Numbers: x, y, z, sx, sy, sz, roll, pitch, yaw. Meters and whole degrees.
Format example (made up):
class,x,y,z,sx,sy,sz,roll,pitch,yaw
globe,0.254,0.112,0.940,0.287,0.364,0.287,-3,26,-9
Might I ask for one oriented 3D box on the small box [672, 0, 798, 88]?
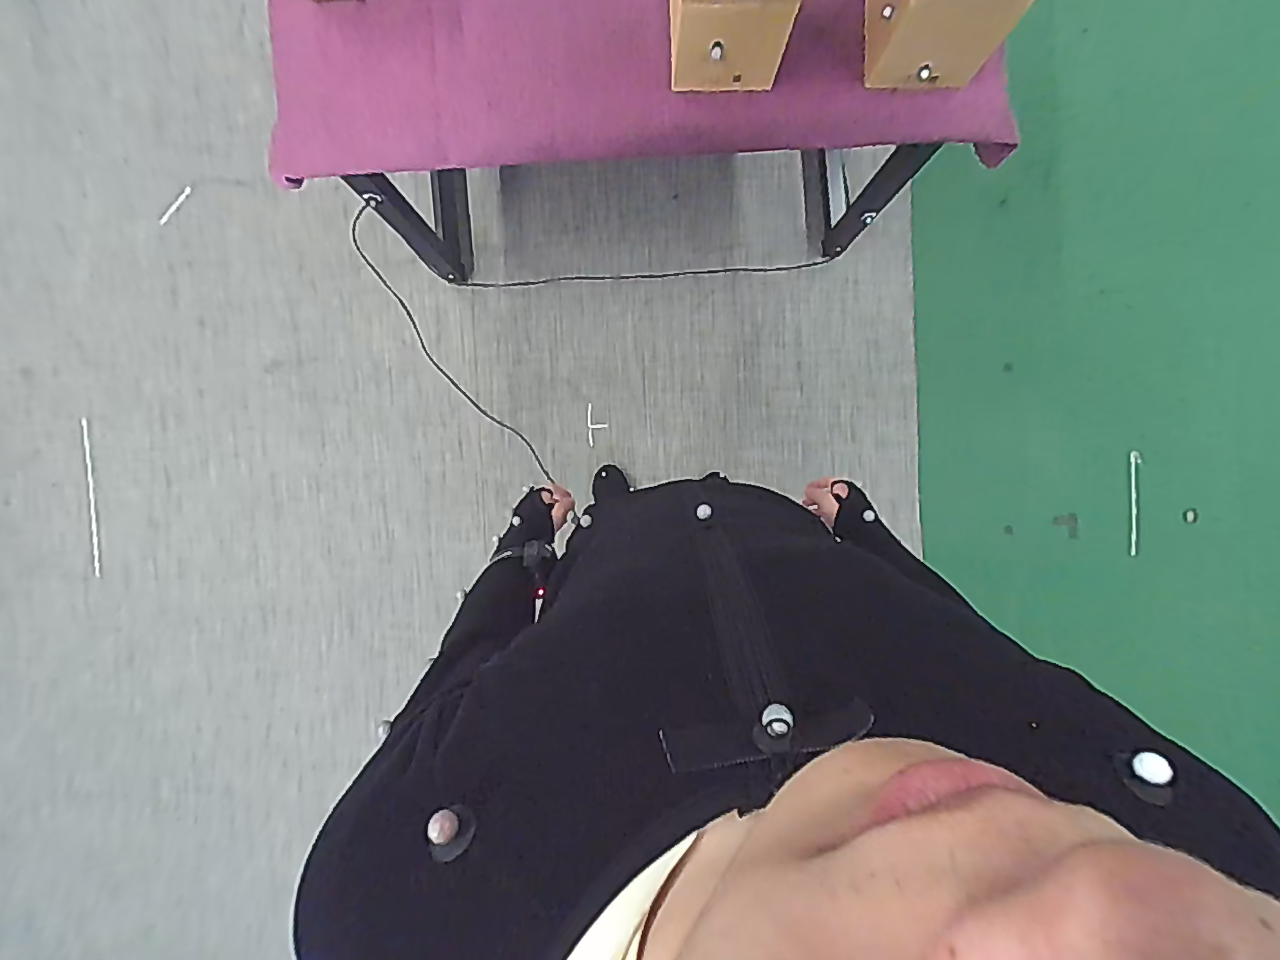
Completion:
class,x,y,z,sx,sy,sz,roll,pitch,yaw
small box,0.136,-0.730,0.815,0.168,0.176,0.179,-1,90,0

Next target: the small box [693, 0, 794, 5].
class,x,y,z,sx,sy,sz,roll,pitch,yaw
small box,0.137,-0.732,0.651,0.168,0.176,0.179,0,91,1
